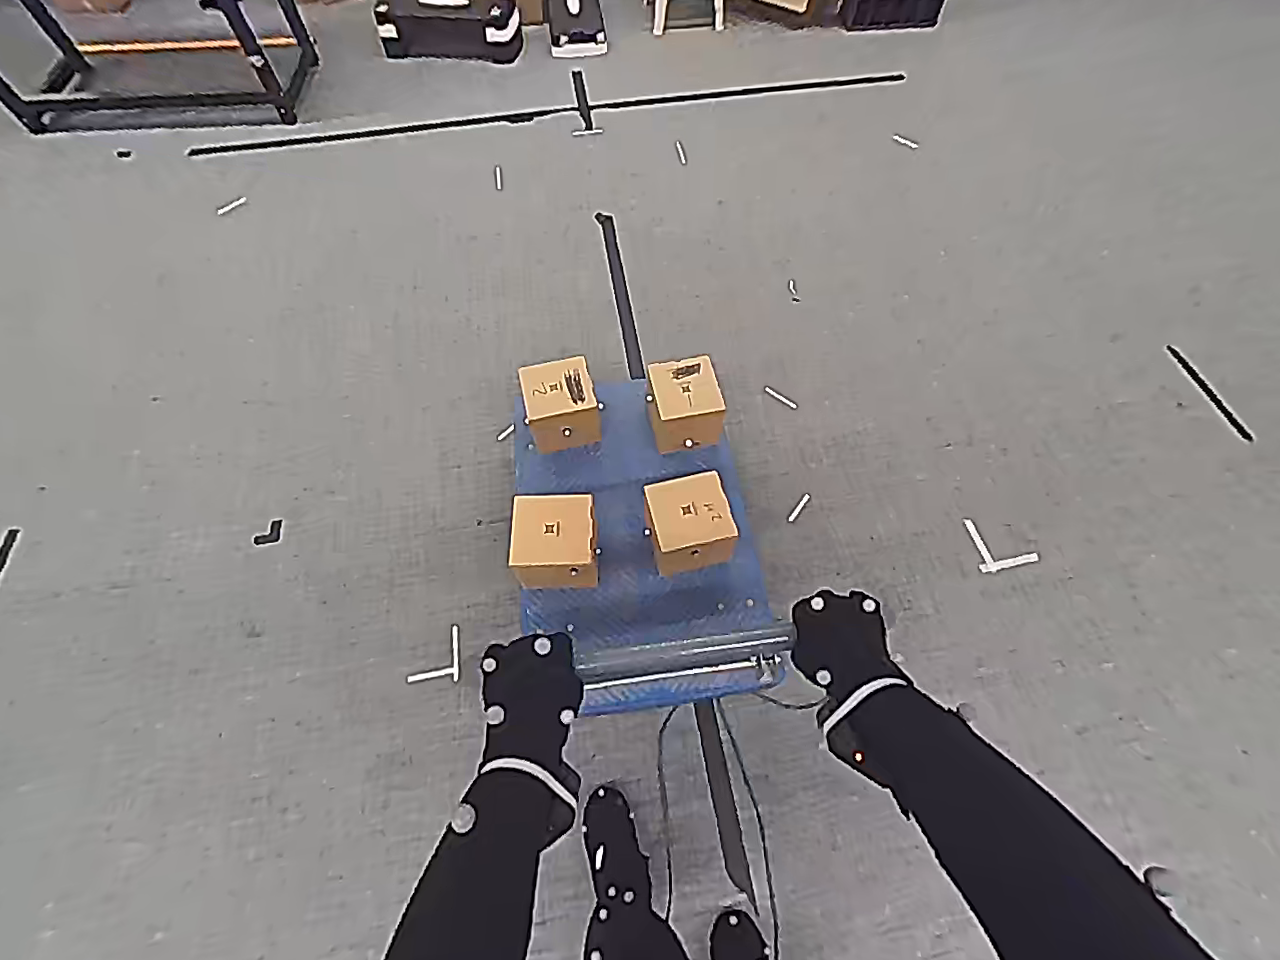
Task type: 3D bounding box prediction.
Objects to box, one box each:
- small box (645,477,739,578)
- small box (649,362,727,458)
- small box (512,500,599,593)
[{"bbox_3d":[0.116,0.117,1.269,0.179,0.176,0.168,-12,63,-6],"label":"small box"},{"bbox_3d":[0.118,-0.182,1.427,0.168,0.176,0.179,-11,63,-5],"label":"small box"},{"bbox_3d":[-0.187,0.158,1.249,0.179,0.176,0.168,-1,62,-2],"label":"small box"}]
